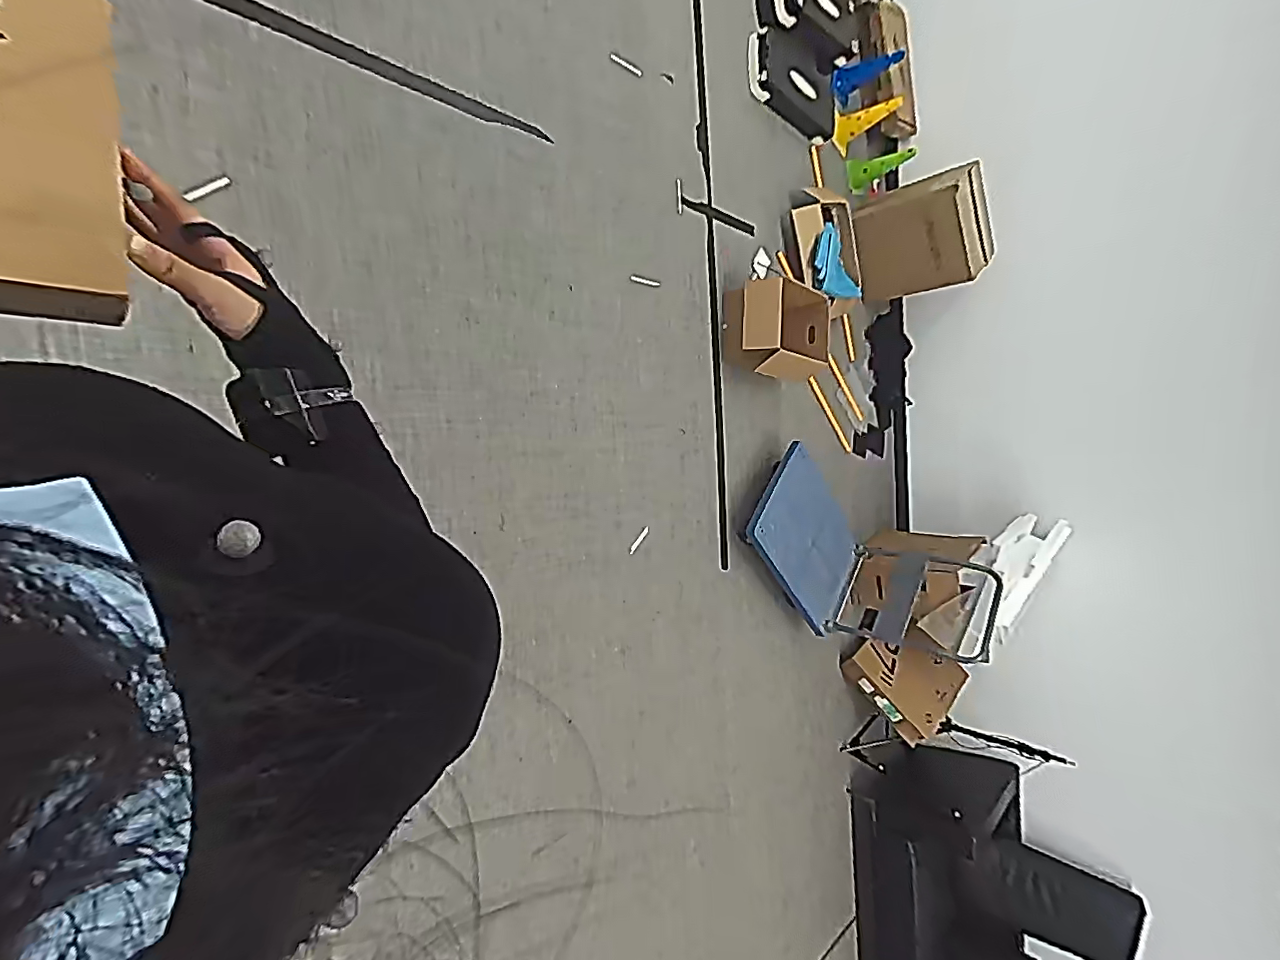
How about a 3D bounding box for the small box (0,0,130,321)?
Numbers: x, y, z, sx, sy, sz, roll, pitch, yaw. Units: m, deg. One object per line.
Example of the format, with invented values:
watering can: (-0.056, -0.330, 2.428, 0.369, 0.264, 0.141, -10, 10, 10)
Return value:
small box: (-0.425, -0.201, 0.326, 0.168, 0.176, 0.179, -4, 98, -46)
